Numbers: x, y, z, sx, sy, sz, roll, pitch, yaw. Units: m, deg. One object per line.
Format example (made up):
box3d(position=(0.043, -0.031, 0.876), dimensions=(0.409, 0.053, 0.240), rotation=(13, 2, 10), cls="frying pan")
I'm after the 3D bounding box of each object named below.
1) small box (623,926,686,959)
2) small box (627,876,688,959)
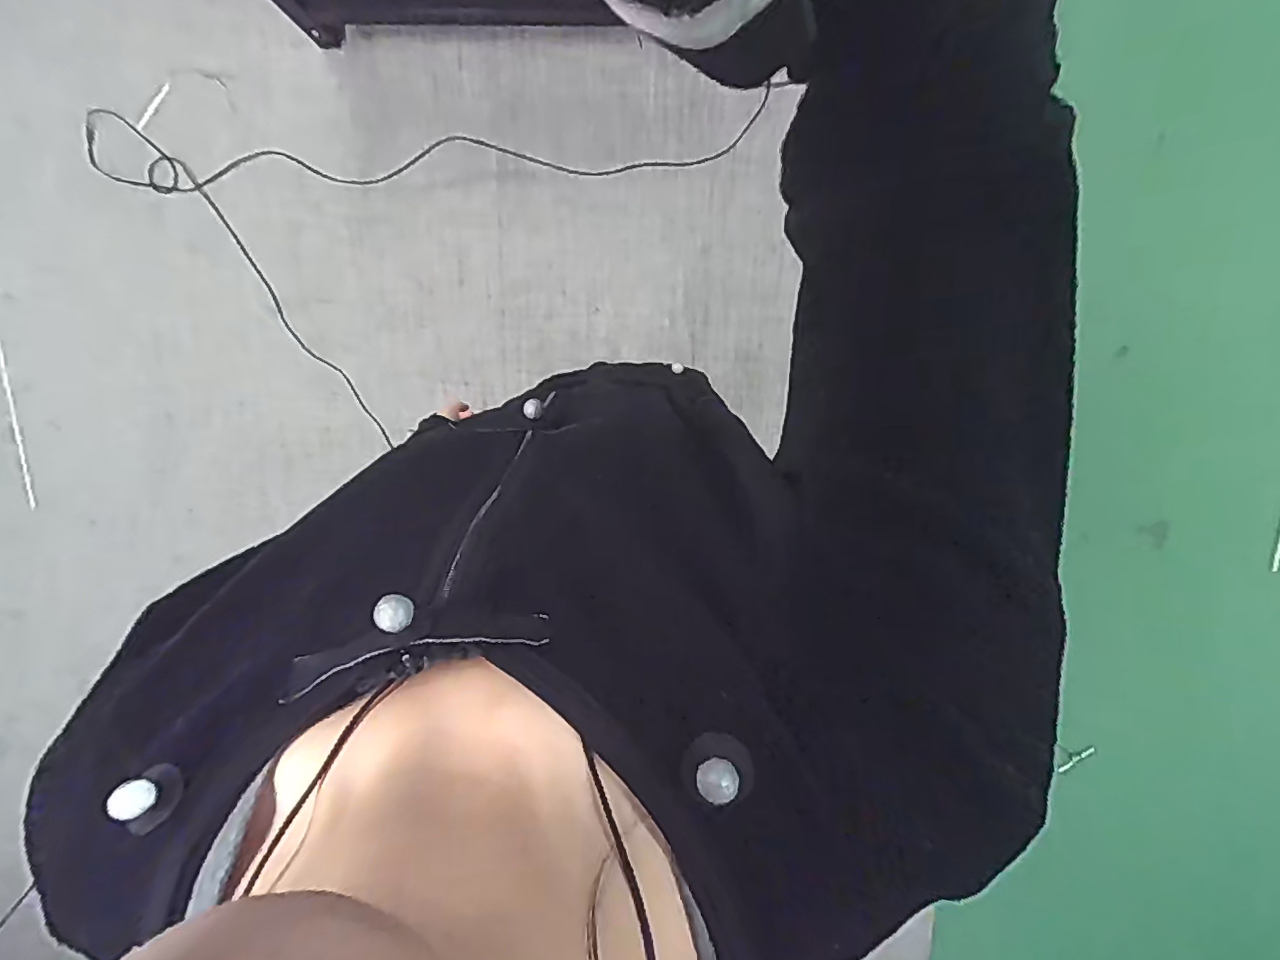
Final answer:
box3d(position=(0.044, 1.387, 1.502), dimensions=(0.179, 0.176, 0.168), rotation=(-4, 100, 2), cls="small box")
box3d(position=(0.055, 1.363, 1.664), dimensions=(0.179, 0.176, 0.168), rotation=(-4, 100, 2), cls="small box")
